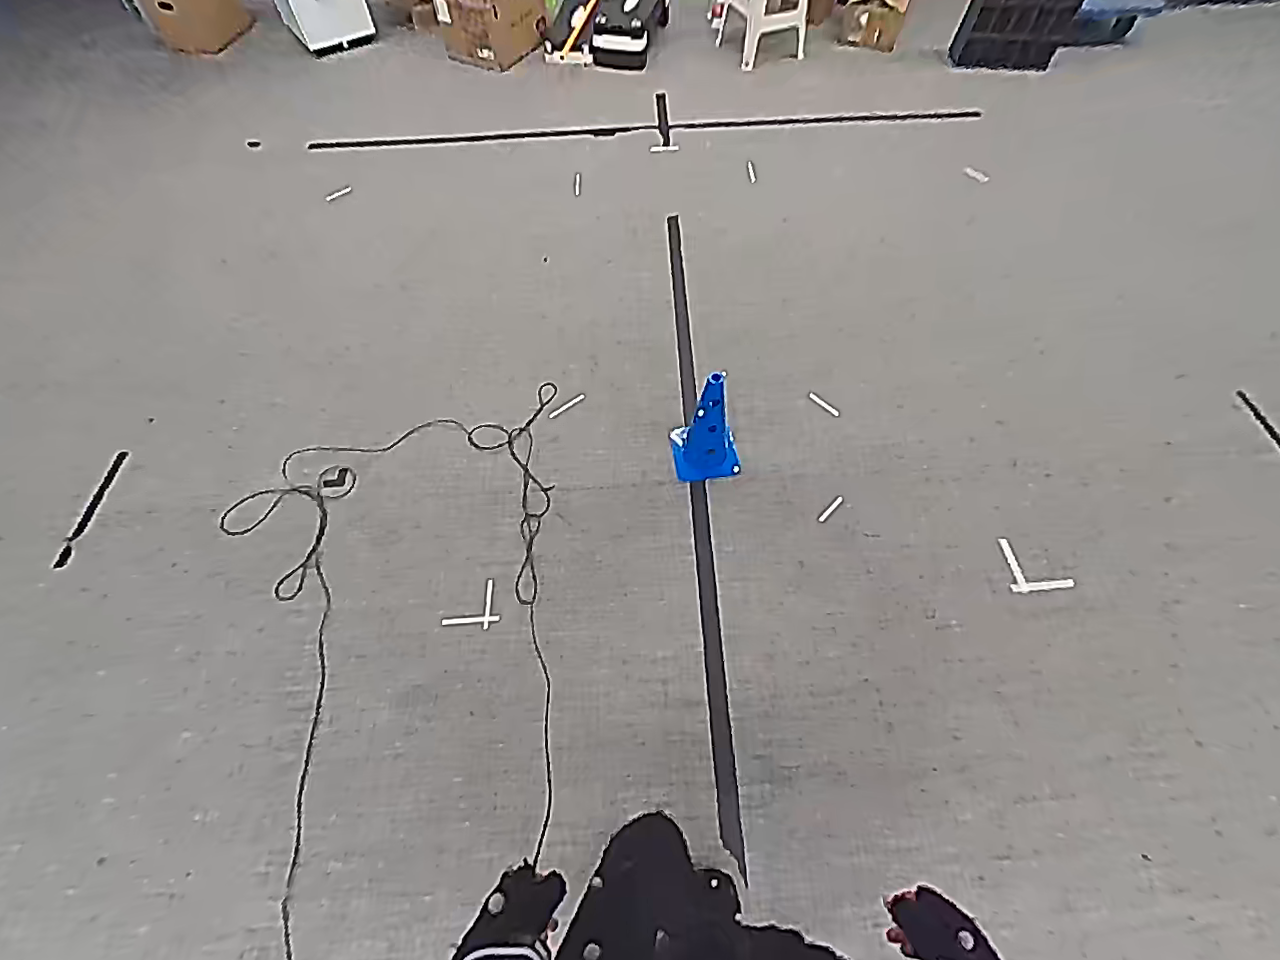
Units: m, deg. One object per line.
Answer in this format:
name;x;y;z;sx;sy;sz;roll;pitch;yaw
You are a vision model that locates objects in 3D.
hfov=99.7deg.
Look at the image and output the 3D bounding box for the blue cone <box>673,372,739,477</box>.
blue cone;0.206;-0.174;1.574;0.192;0.380;0.193;-5;60;-3
